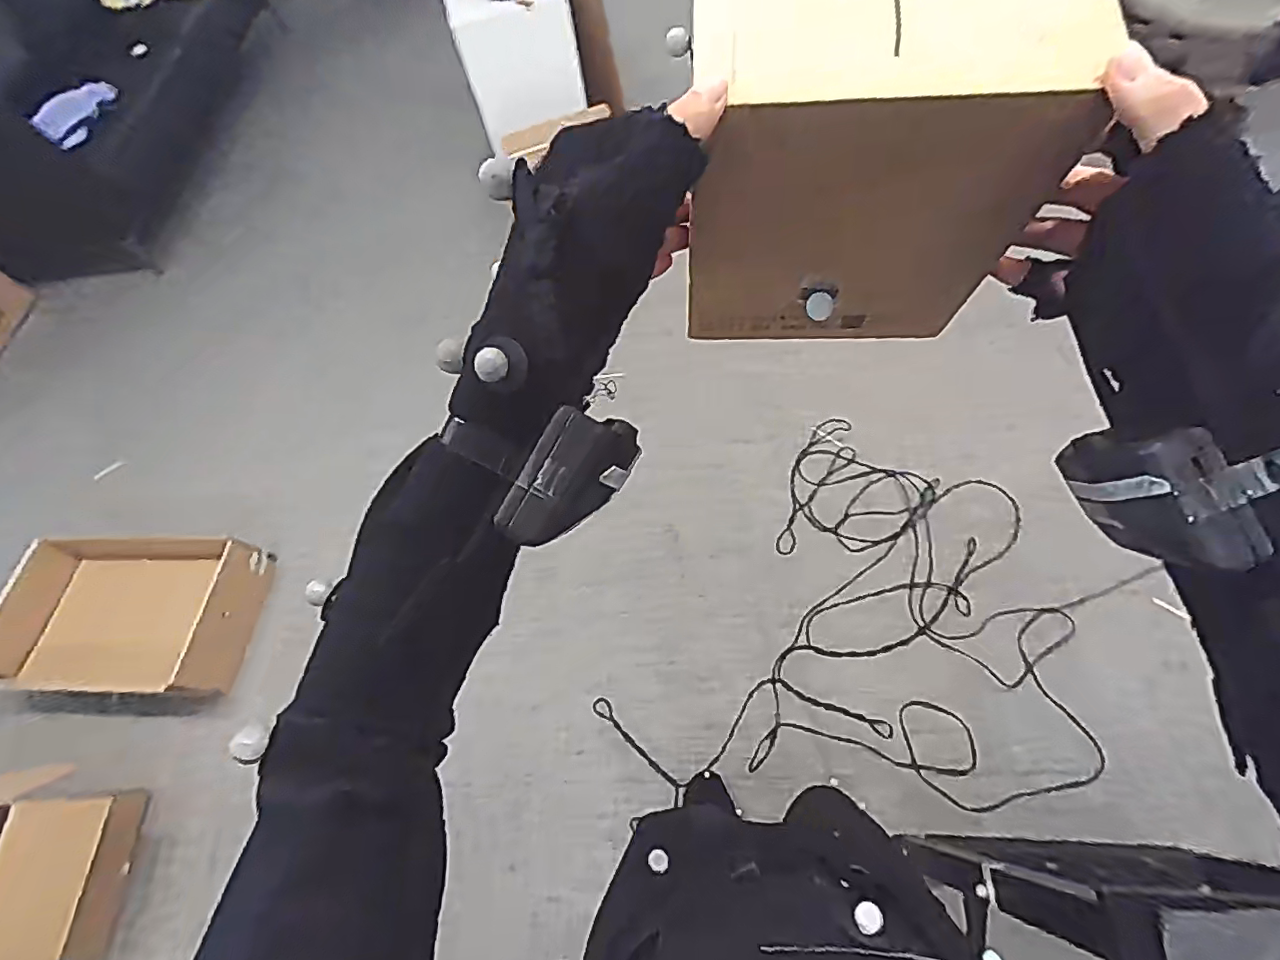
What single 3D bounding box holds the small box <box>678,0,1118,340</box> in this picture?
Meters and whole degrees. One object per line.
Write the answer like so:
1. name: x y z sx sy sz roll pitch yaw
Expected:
1. small box: 0.106 -0.202 0.310 0.168 0.176 0.179 0 72 5
